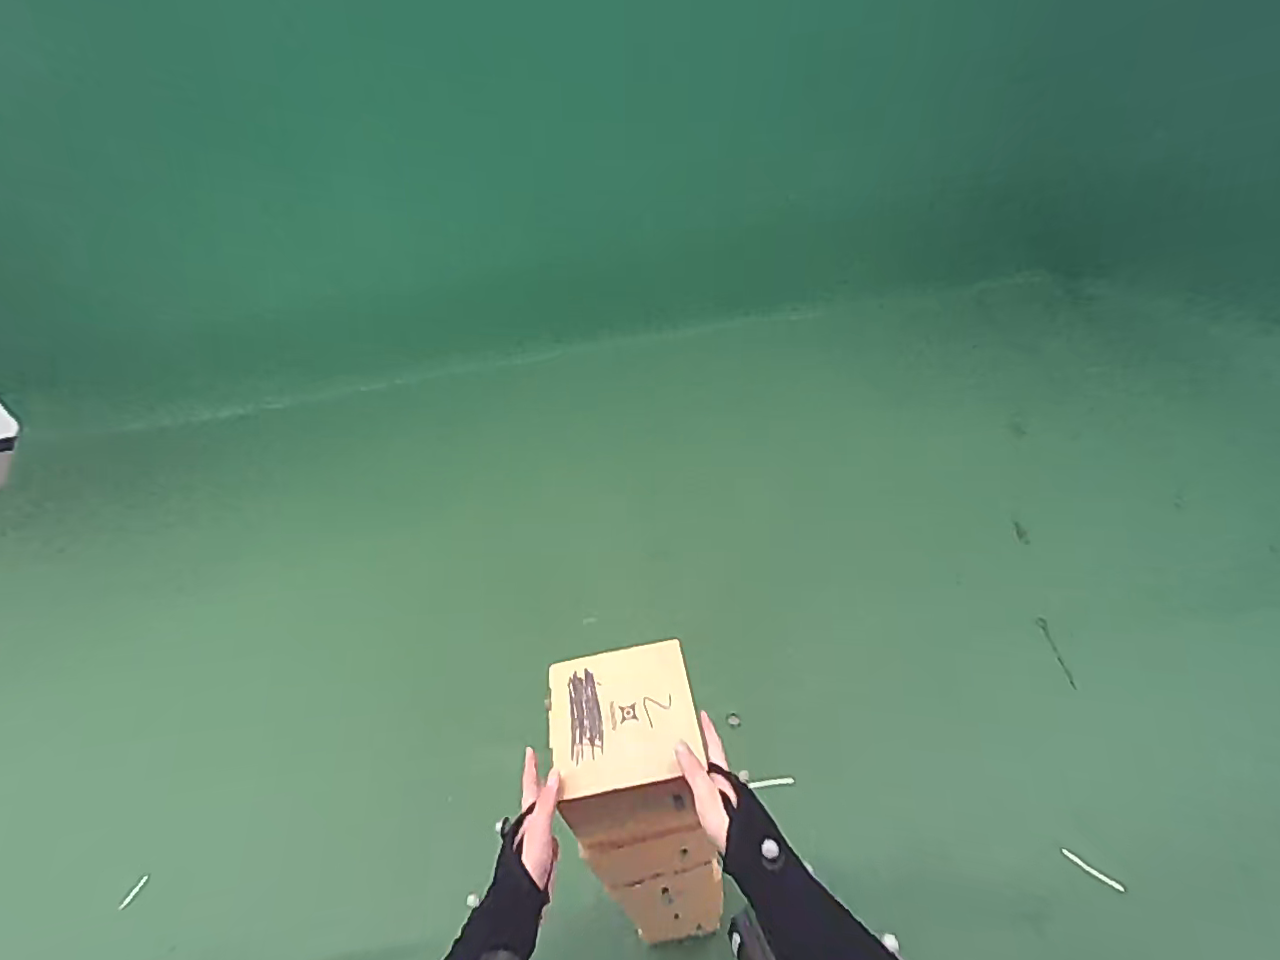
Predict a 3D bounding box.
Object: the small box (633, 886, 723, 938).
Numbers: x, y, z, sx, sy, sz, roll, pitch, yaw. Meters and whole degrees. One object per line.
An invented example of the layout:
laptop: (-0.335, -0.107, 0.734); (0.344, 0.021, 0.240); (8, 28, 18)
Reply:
small box: (0.067, 0.824, 1.128); (0.179, 0.176, 0.168); (-12, 43, -3)

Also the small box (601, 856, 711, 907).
small box: (0.019, 0.588, 0.906); (0.168, 0.176, 0.179); (-12, 44, -3)

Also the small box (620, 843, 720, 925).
small box: (0.046, 0.705, 1.017); (0.179, 0.176, 0.168); (-13, 44, -5)

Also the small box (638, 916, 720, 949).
small box: (0.079, 0.944, 1.236); (0.179, 0.176, 0.168); (-10, 43, -2)

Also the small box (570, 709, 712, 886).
small box: (0.003, 0.468, 0.796); (0.179, 0.176, 0.168); (-12, 42, -2)
